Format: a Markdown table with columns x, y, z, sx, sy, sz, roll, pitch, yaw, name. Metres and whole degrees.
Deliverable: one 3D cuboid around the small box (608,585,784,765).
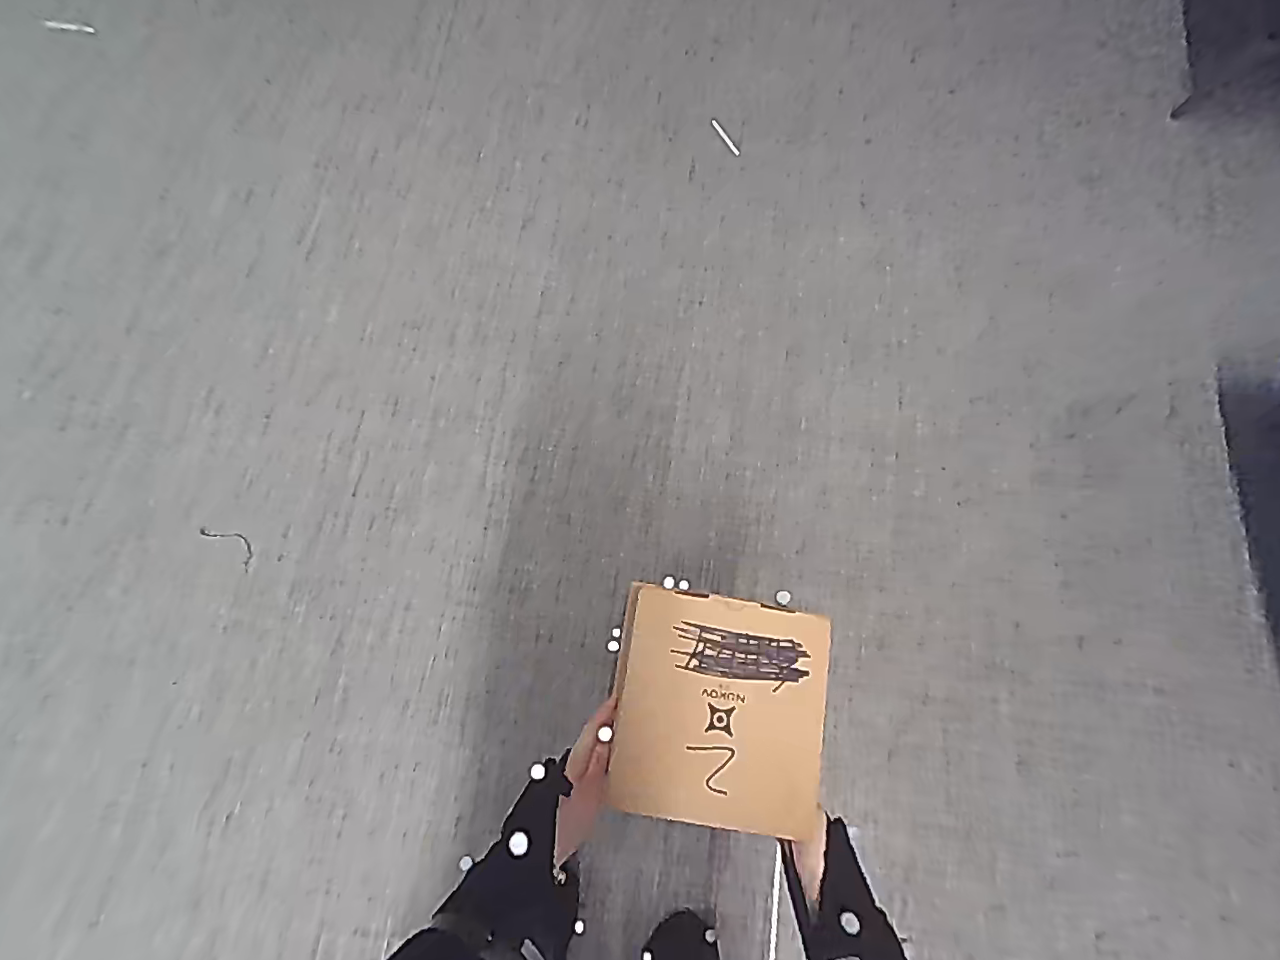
| x | y | z | sx | sy | sz | roll | pitch | yaw | name |
| --- | --- | --- | --- | --- | --- | --- | --- | --- | --- |
| 0.061 | 0.229 | 0.671 | 0.179 | 0.176 | 0.168 | 10 | 79 | 0 | small box |
